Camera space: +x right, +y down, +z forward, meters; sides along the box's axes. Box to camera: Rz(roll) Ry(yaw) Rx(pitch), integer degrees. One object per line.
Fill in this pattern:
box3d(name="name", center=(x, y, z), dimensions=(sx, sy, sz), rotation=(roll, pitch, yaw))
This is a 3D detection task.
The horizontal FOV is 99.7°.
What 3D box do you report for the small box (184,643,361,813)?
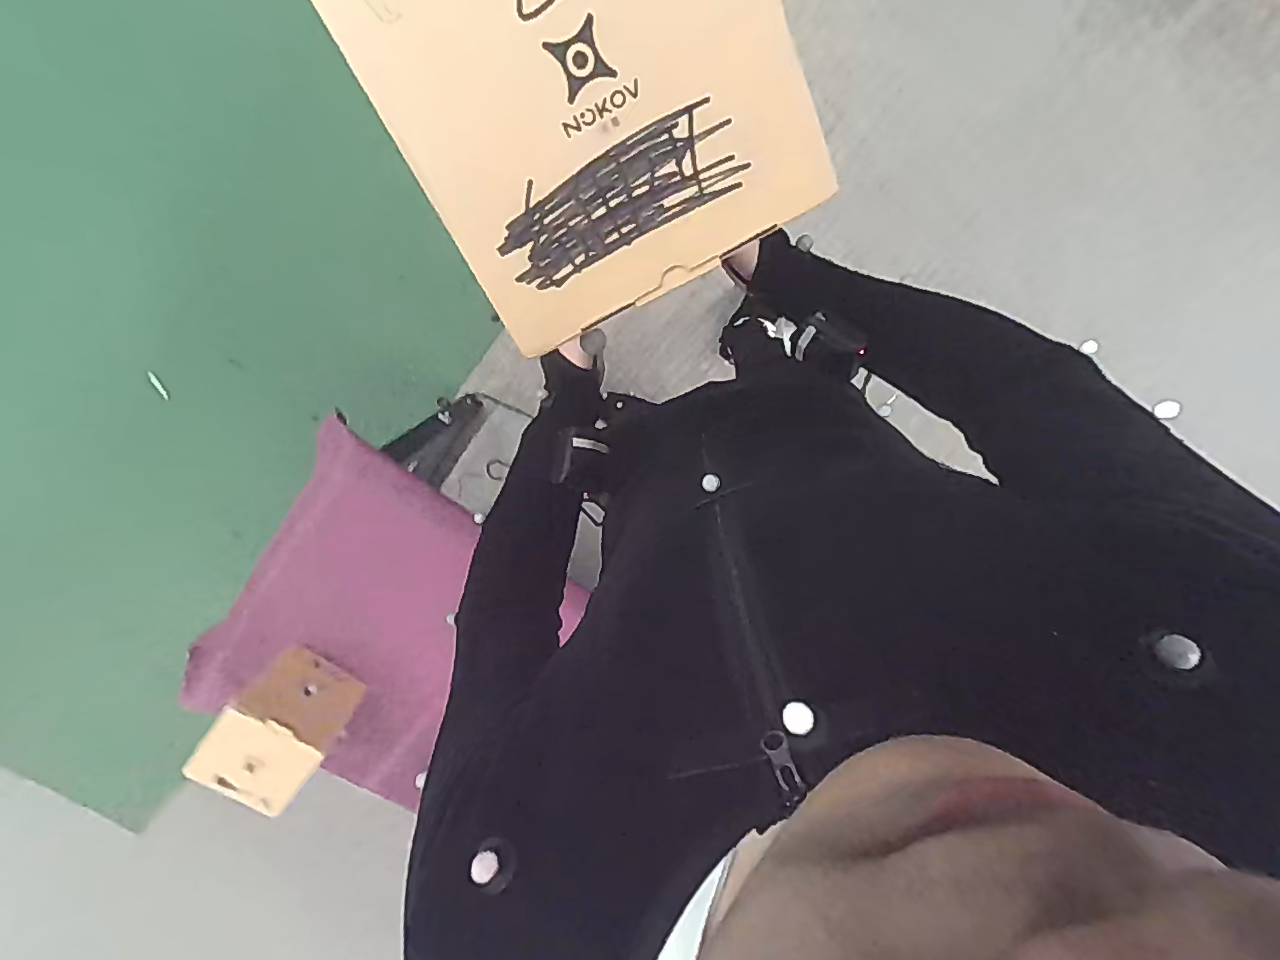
box3d(name="small box", center=(-0.624, 0.423, 0.946), dimensions=(0.168, 0.176, 0.179), rotation=(37, 103, -13))
